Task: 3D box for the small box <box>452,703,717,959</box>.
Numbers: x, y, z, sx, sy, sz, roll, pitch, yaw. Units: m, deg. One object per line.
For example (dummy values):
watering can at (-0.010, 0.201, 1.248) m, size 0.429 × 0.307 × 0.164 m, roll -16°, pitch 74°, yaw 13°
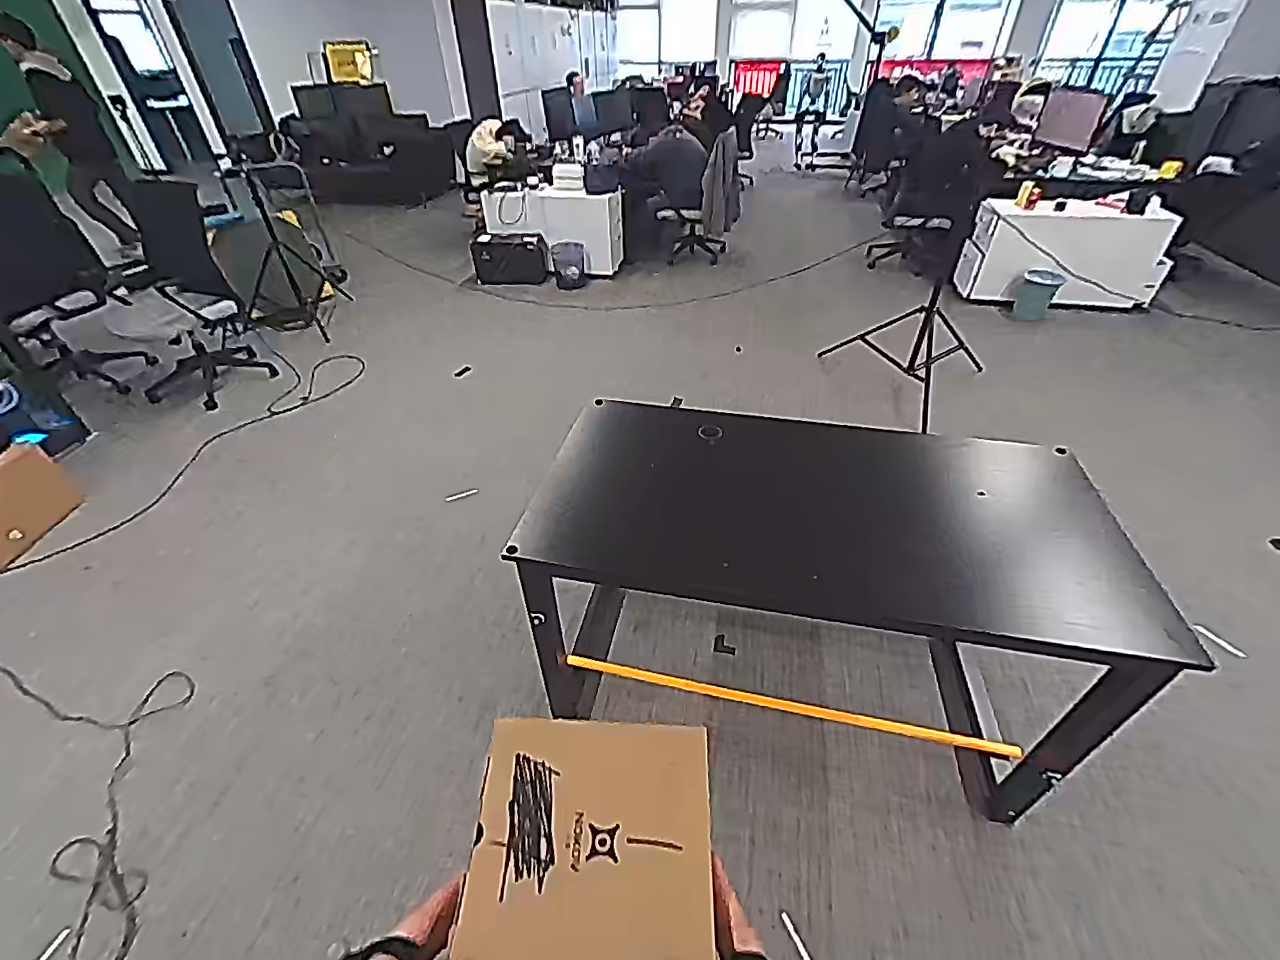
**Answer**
small box at (-0.034, 0.305, 0.459) m, size 0.179 × 0.176 × 0.168 m, roll 2°, pitch 48°, yaw 0°
